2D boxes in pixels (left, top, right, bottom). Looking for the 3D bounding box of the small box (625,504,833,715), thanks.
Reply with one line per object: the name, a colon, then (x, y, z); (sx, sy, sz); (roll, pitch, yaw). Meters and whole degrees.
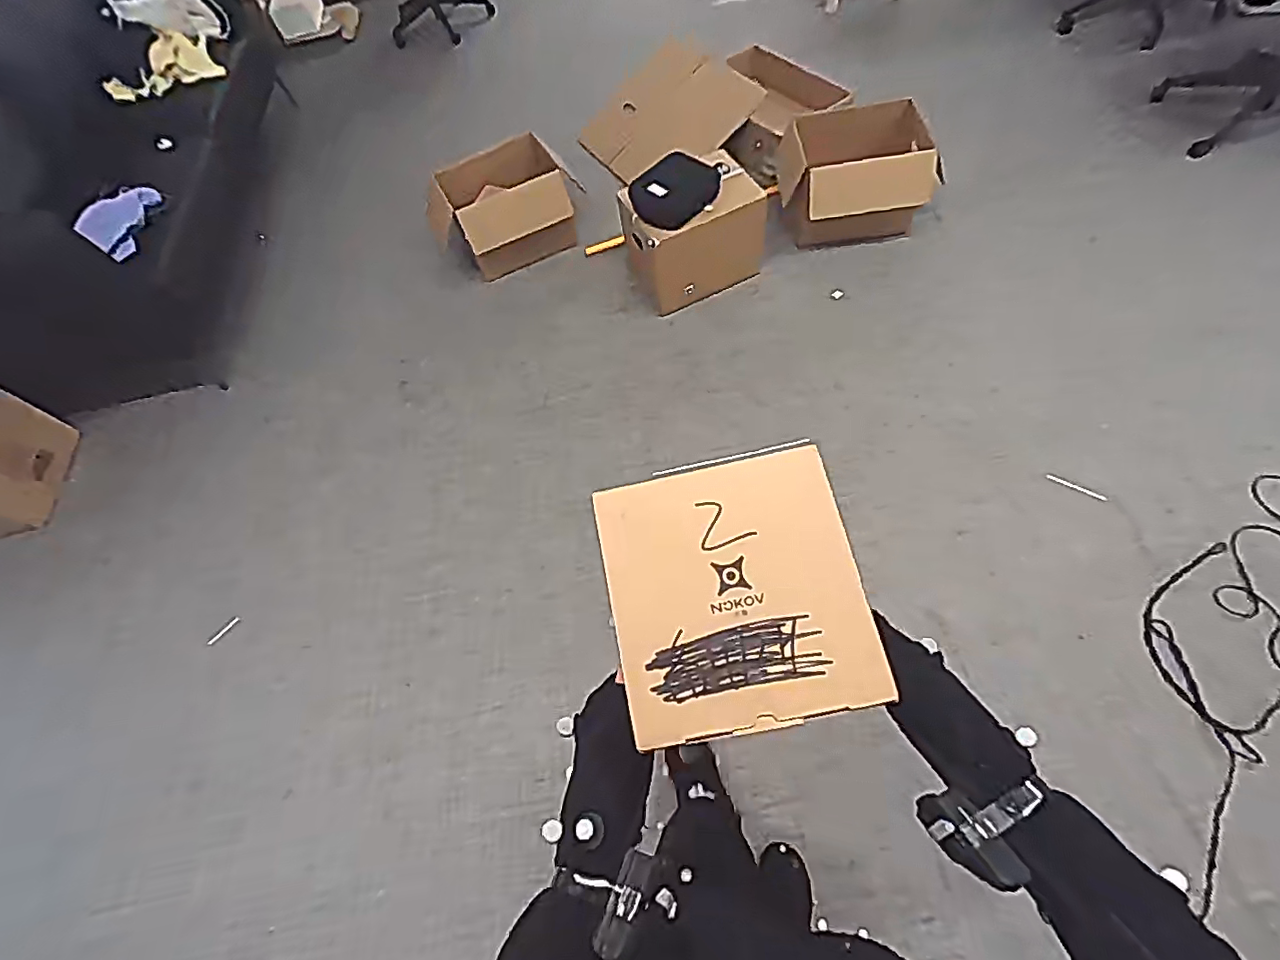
small box: (0.090, 0.152, 0.600); (0.168, 0.176, 0.179); (-16, 65, 3)
